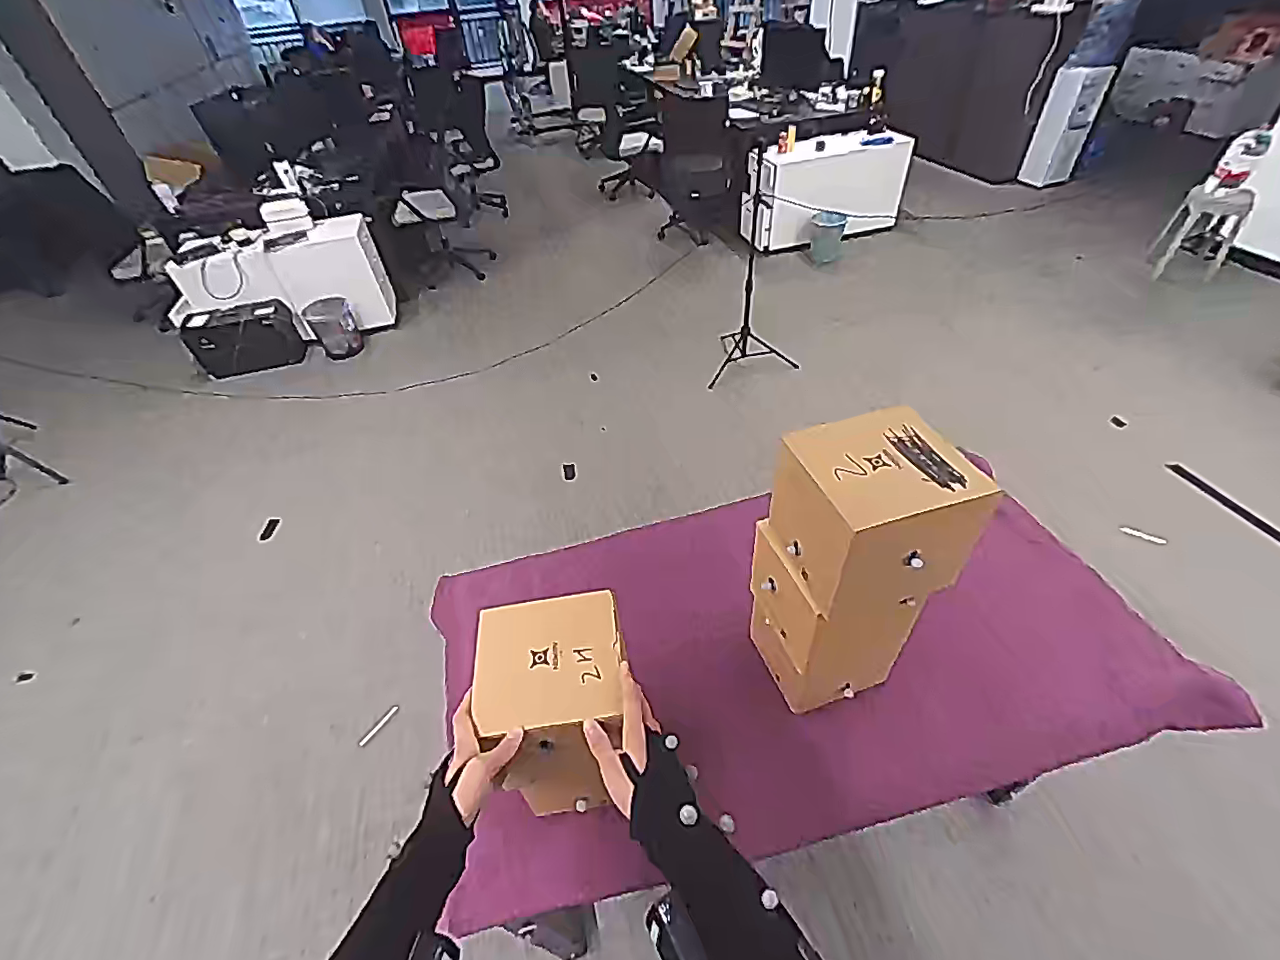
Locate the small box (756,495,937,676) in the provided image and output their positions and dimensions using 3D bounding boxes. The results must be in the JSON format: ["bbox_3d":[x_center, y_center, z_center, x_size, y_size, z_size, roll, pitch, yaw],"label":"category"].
[{"bbox_3d":[0.278,0.153,0.777,0.179,0.176,0.168,-15,44,-10],"label":"small box"}]

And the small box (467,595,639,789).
[{"bbox_3d":[-0.101,0.273,0.691,0.179,0.176,0.168,-8,44,-2],"label":"small box"}]

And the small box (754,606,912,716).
[{"bbox_3d":[0.306,0.259,0.899,0.179,0.176,0.168,-15,43,-11],"label":"small box"}]

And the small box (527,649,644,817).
[{"bbox_3d":[-0.087,0.379,0.815,0.168,0.176,0.179,-7,44,-1],"label":"small box"}]
